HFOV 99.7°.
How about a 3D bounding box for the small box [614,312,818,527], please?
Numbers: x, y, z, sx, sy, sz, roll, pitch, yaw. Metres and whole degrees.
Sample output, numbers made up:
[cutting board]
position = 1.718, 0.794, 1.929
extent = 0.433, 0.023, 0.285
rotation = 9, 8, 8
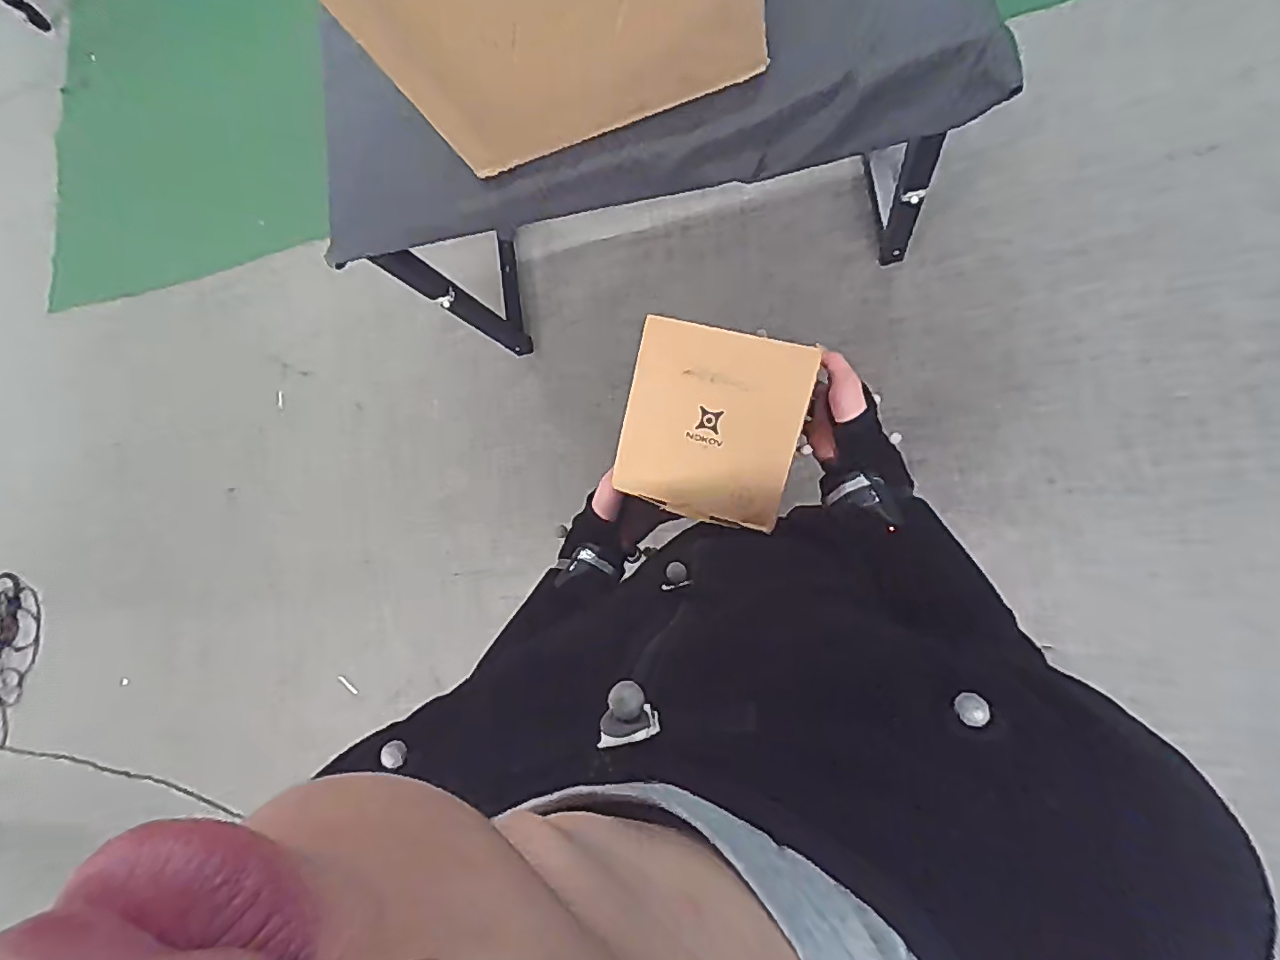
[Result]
[small box]
position = 0.087, -0.069, 0.587
extent = 0.168, 0.176, 0.179
rotation = 14, 102, 13
